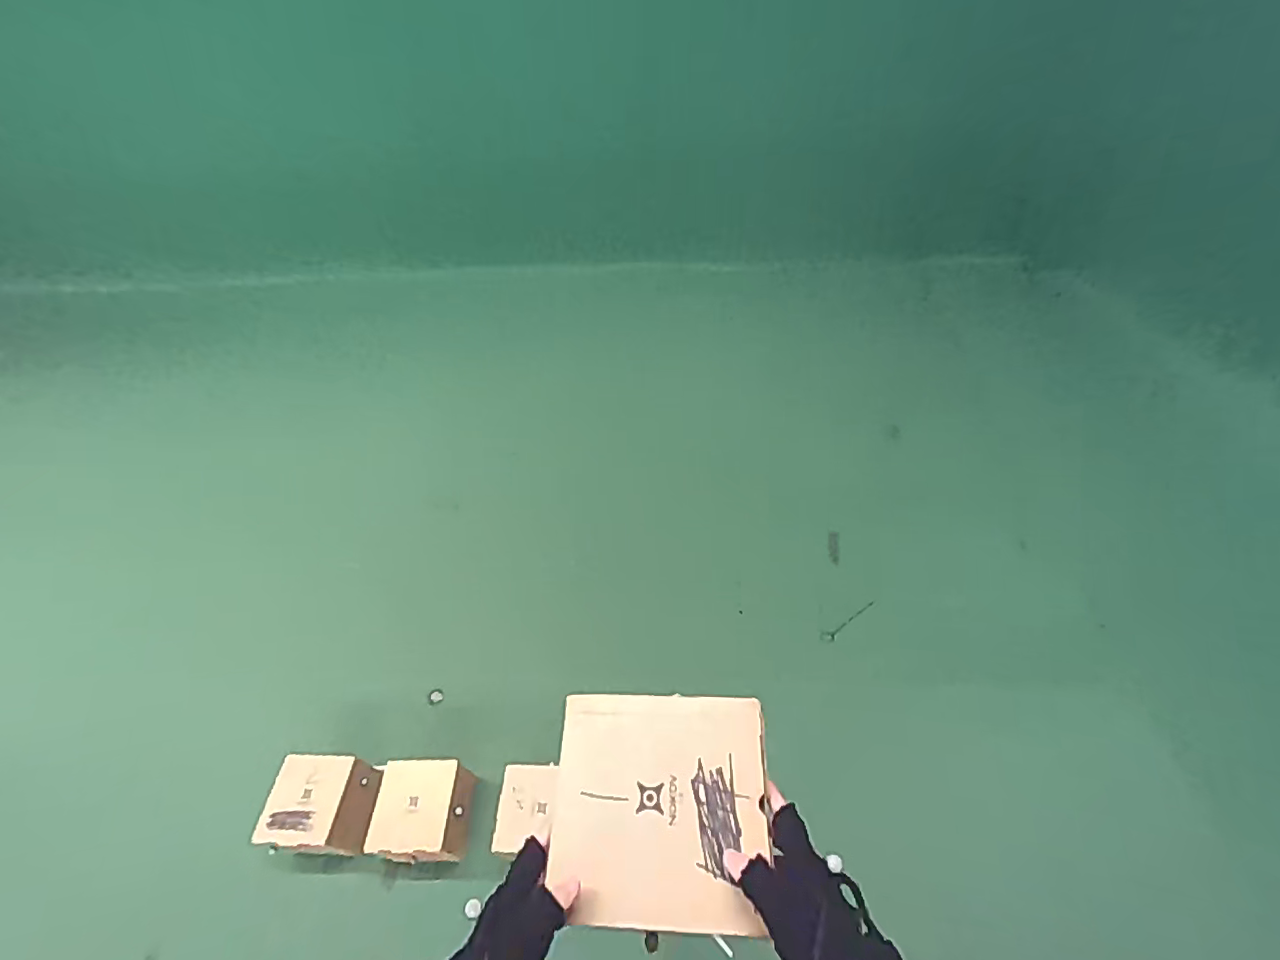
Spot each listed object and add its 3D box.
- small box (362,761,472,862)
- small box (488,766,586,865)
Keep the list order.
[{"bbox_3d":[-0.496,0.757,1.235,0.168,0.176,0.179,-1,51,1],"label":"small box"},{"bbox_3d":[-0.221,0.759,1.219,0.179,0.176,0.168,1,50,3],"label":"small box"}]
